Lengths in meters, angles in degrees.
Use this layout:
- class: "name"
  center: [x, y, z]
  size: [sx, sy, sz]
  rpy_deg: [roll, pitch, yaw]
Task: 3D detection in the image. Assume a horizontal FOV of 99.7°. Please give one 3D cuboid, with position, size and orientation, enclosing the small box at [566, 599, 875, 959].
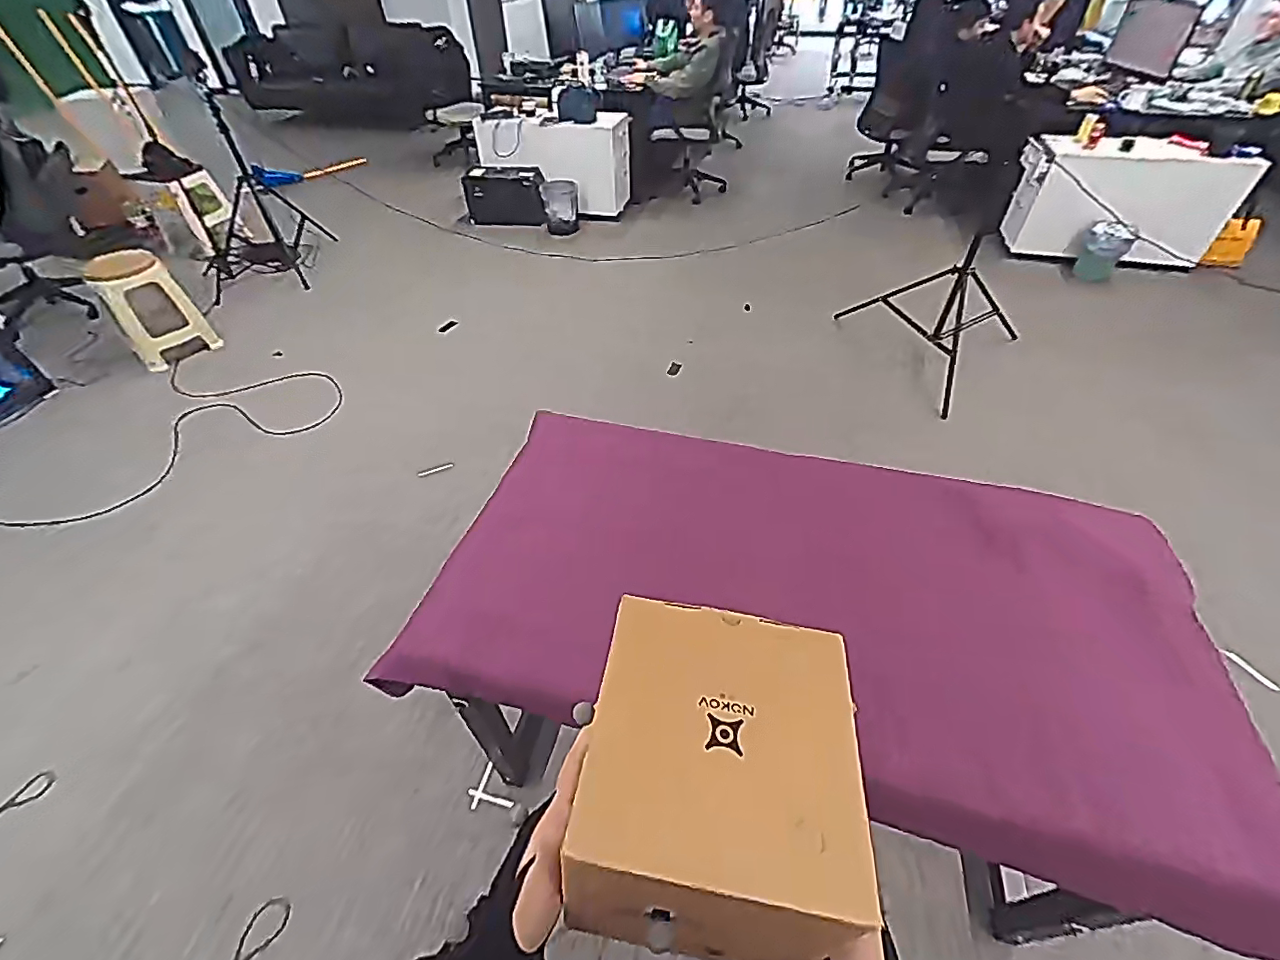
- class: "small box"
  center: [0.050, 0.219, 0.396]
  size: [0.168, 0.176, 0.179]
  rpy_deg: [9, 40, 4]
